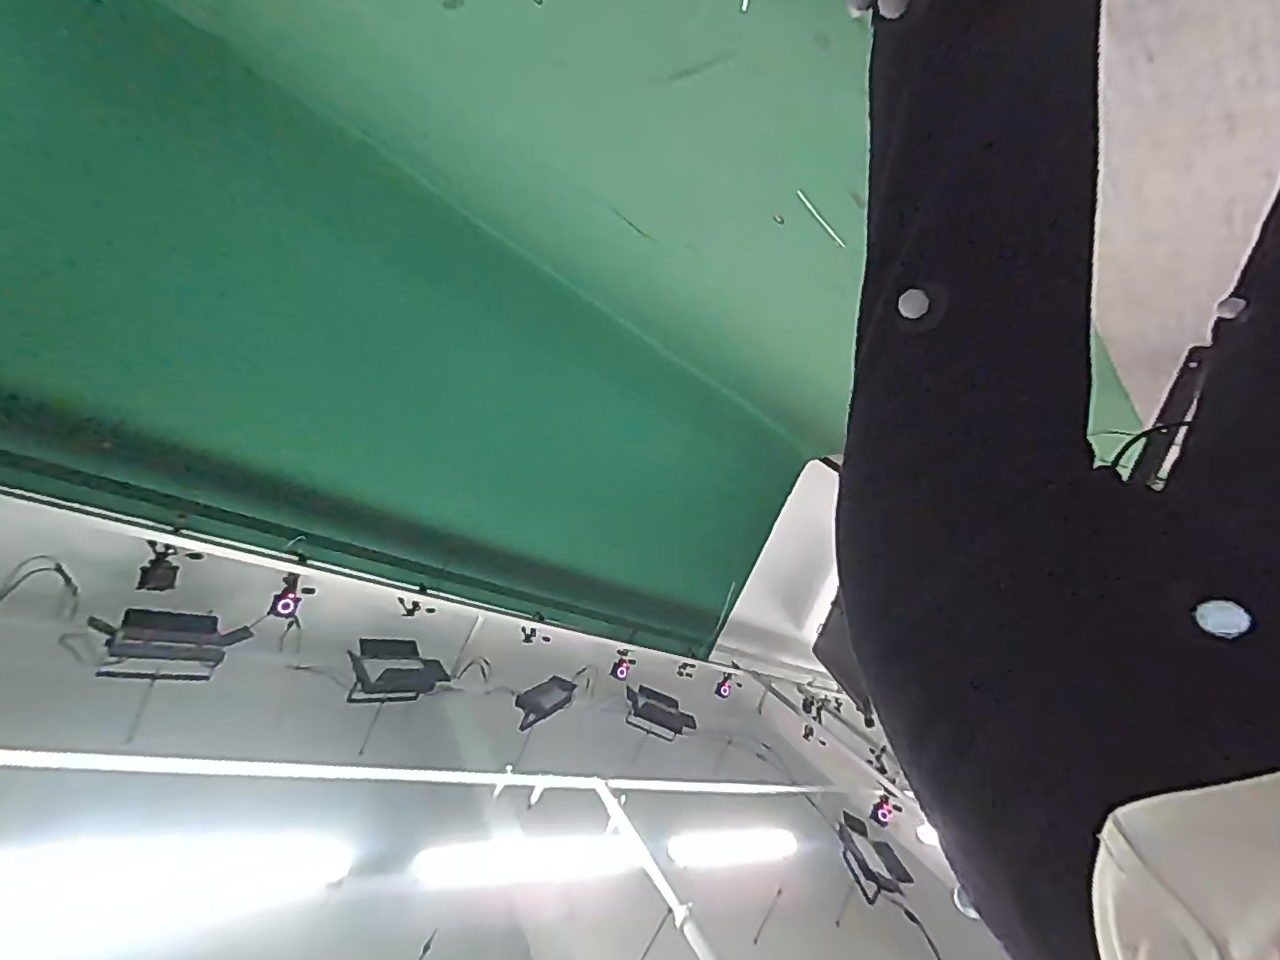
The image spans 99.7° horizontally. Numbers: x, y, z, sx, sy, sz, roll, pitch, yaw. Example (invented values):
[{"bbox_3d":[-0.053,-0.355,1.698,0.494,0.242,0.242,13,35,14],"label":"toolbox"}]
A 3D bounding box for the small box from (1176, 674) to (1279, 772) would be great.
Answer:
[{"bbox_3d":[1.566,0.632,1.420,0.179,0.176,0.168,27,-179,-34],"label":"small box"}]
